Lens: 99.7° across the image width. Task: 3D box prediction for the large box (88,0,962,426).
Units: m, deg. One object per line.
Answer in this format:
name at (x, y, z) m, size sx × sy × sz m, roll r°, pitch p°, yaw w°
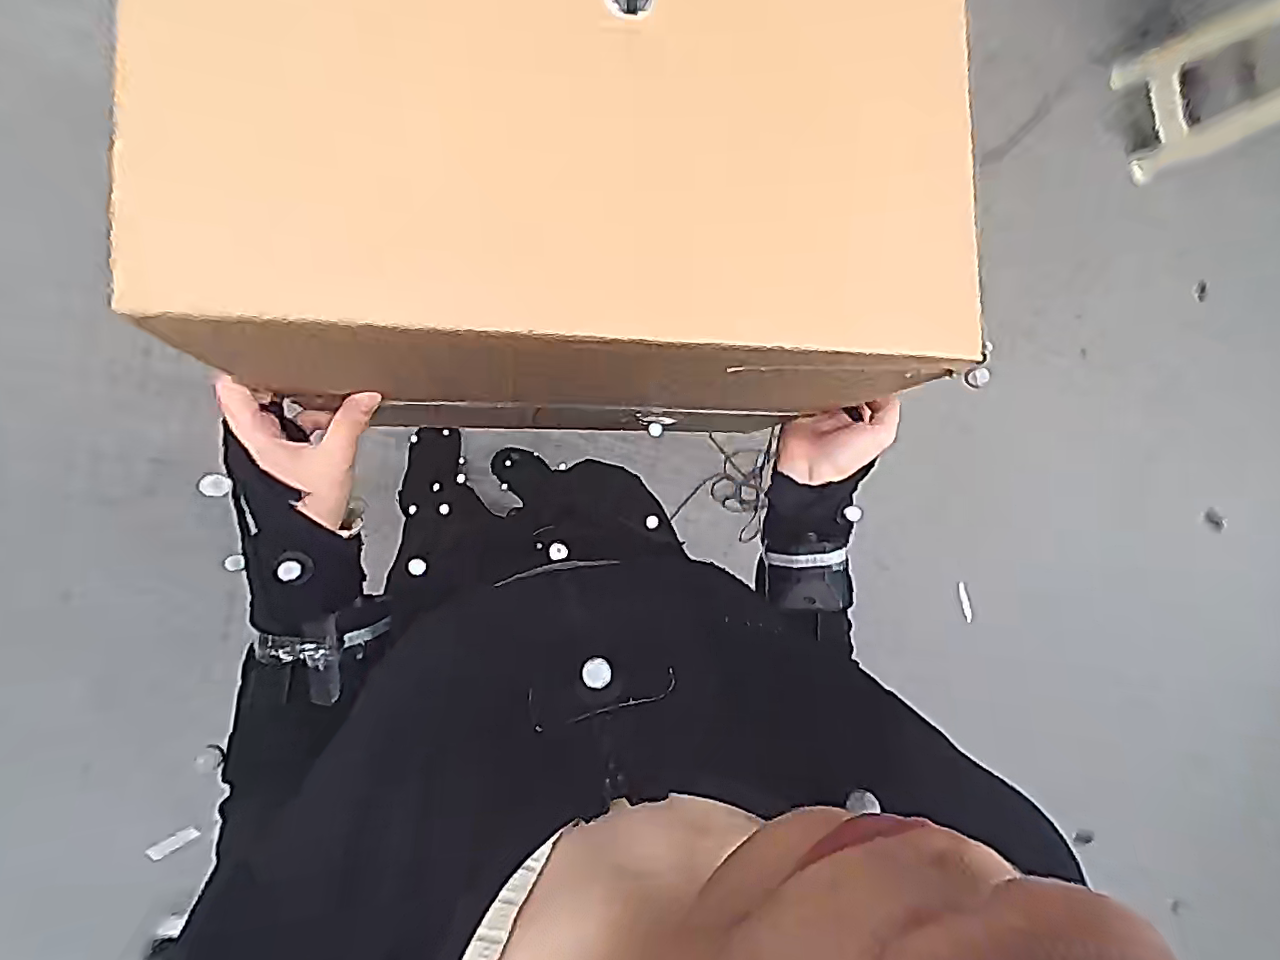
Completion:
large box at (-0.058, -0.216, 0.400) m, size 0.408 × 0.320 × 0.320 m, roll -3°, pitch 90°, yaw -13°
